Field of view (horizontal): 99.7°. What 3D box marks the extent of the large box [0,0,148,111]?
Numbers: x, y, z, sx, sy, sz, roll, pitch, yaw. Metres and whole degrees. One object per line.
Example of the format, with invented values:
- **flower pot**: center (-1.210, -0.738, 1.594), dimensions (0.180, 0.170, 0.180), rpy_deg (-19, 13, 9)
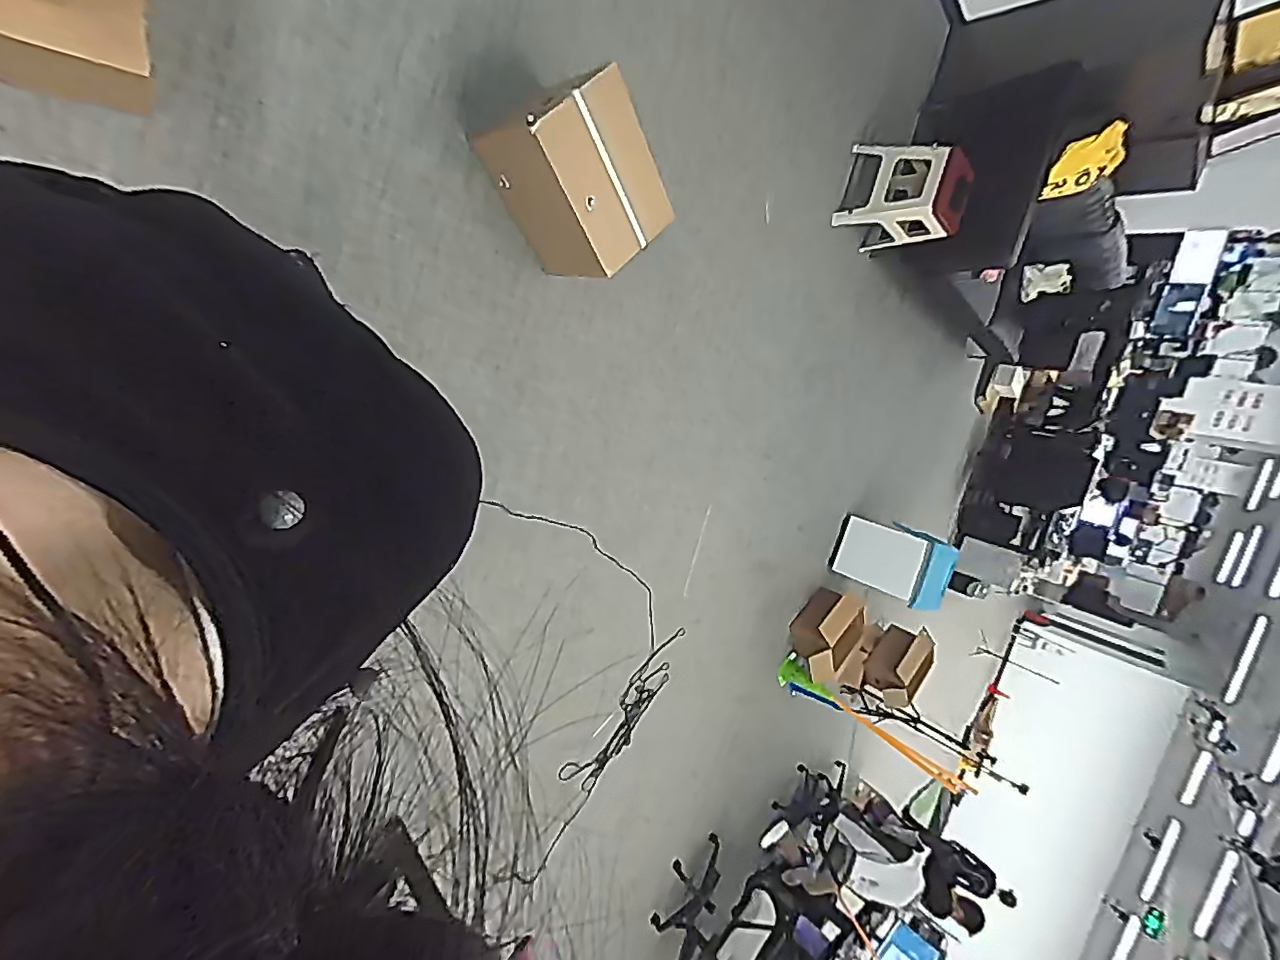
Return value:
- **large box**: center (-0.974, -0.770, 0.747), dimensions (0.408, 0.320, 0.320), rpy_deg (-8, 110, -42)
